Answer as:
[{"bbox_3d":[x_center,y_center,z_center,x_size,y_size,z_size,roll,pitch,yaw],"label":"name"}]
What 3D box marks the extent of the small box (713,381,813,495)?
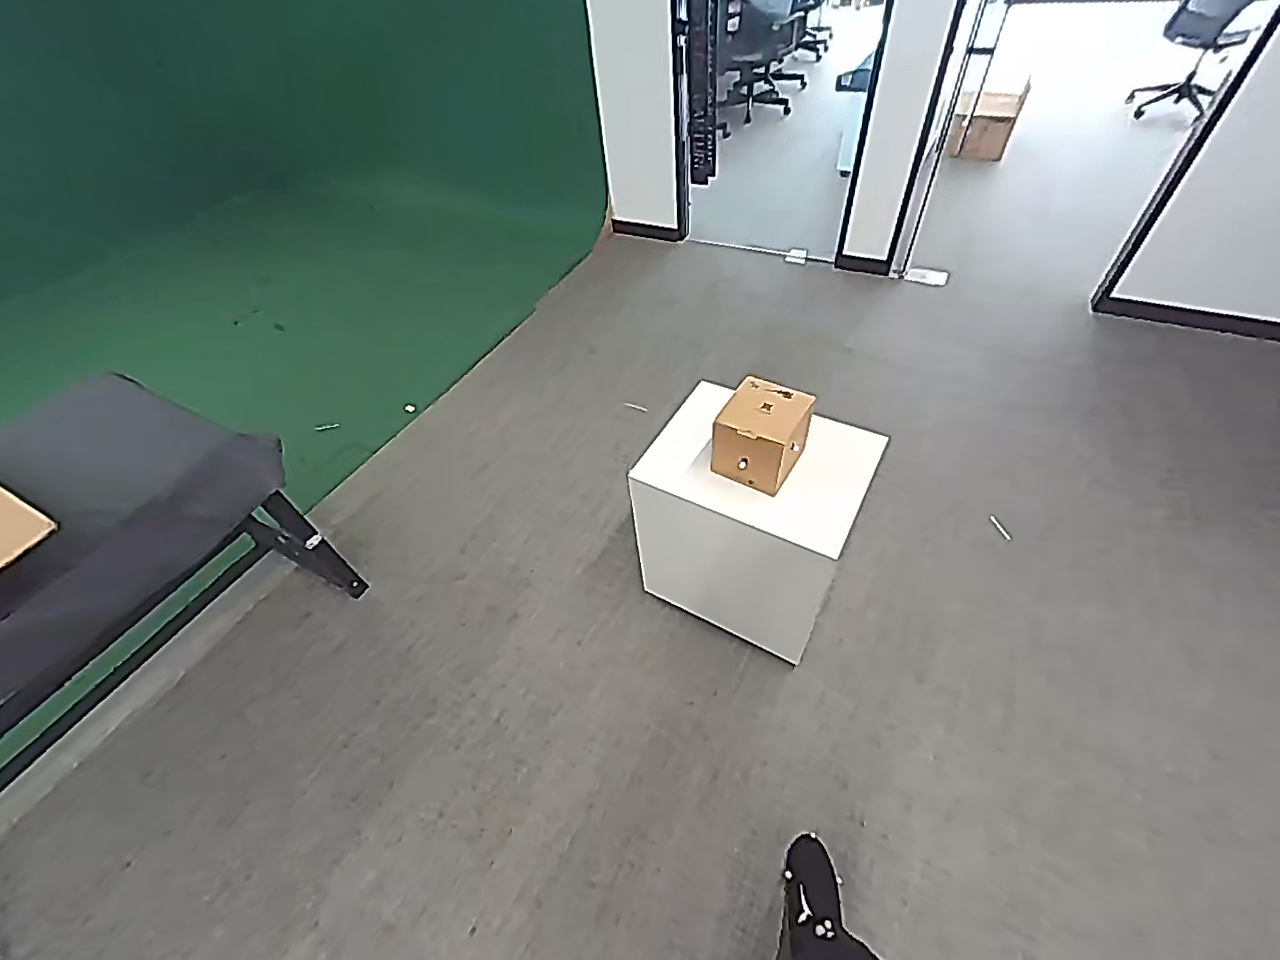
[{"bbox_3d":[0.279,-0.094,1.242,0.168,0.176,0.179,22,54,23],"label":"small box"}]
